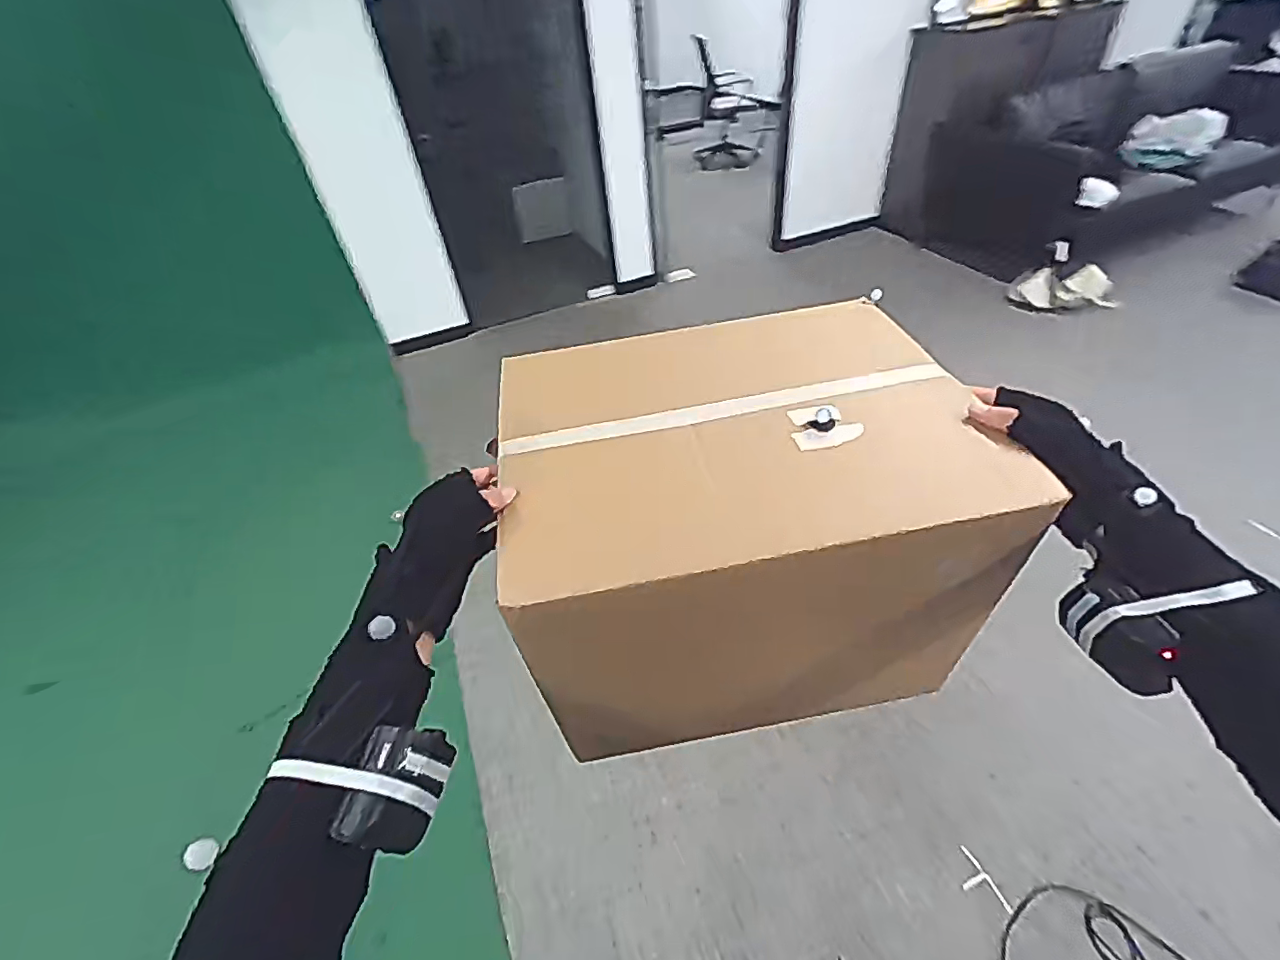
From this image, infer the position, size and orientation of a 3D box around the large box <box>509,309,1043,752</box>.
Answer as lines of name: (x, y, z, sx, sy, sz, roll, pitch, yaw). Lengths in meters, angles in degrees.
large box: (0.091, 0.051, 0.591, 0.408, 0.320, 0.320, -10, 45, -3)
